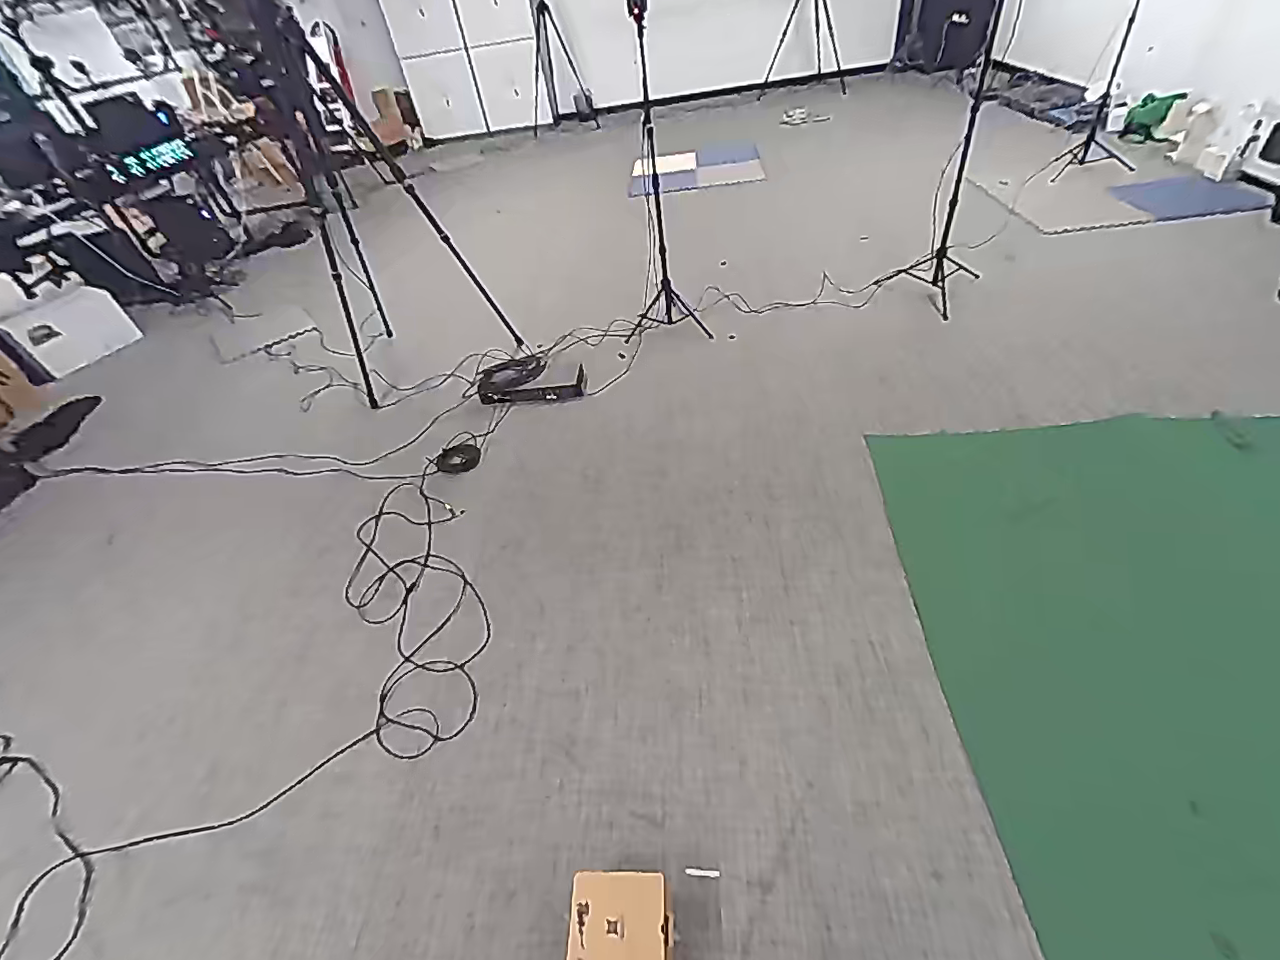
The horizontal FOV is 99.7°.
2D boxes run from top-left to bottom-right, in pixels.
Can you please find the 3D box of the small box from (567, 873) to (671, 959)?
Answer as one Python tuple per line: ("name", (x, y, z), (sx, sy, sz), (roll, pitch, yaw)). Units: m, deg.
("small box", (-0.032, 0.855, 1.017), (0.179, 0.176, 0.168), (-5, 44, 6))
